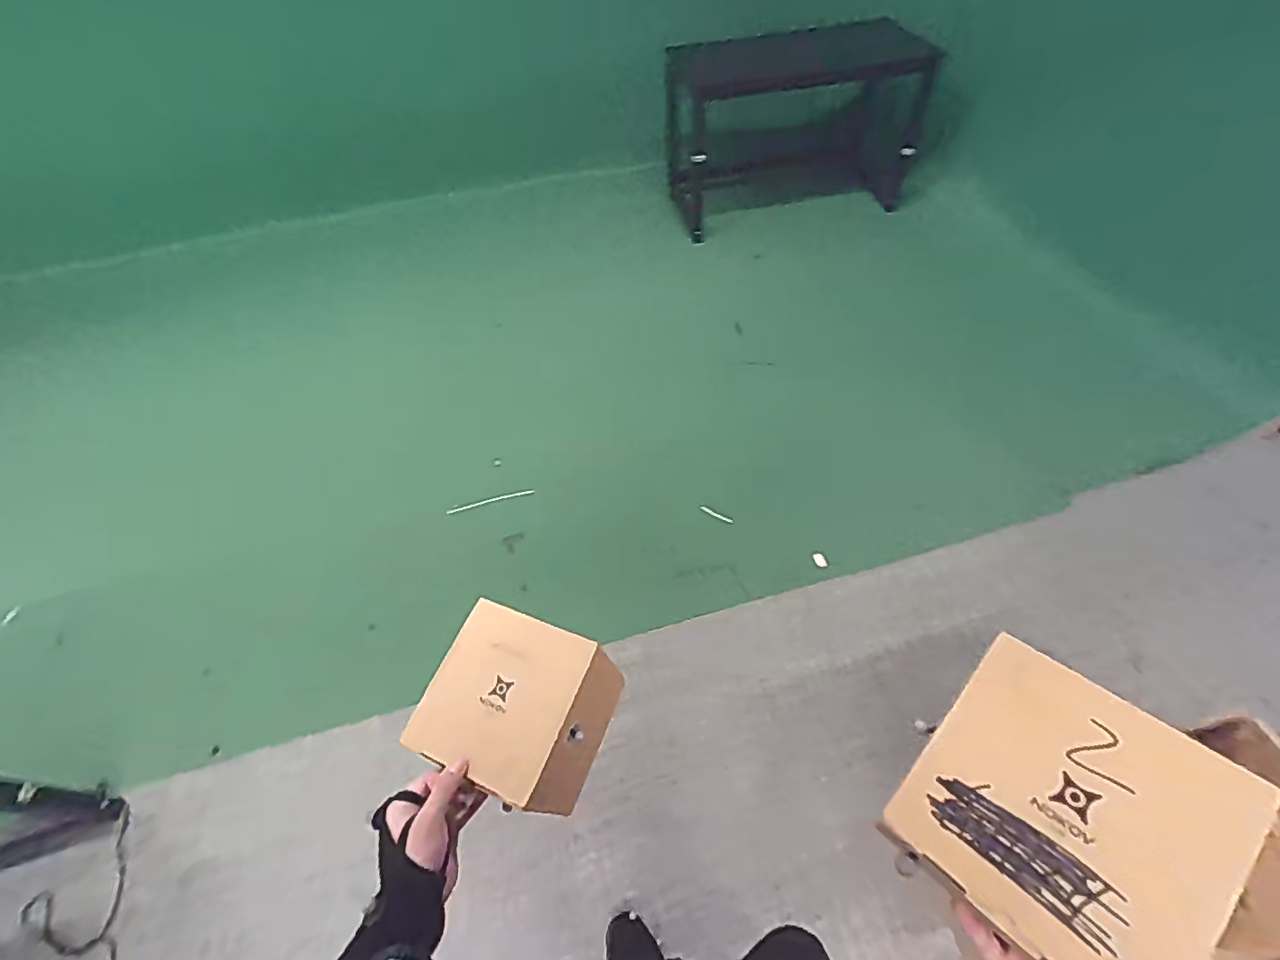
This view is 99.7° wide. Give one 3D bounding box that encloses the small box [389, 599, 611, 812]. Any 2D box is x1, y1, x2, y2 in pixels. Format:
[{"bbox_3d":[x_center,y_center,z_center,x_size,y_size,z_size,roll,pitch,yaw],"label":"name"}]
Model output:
[{"bbox_3d":[-0.150,0.275,0.651,0.168,0.176,0.179,15,61,20],"label":"small box"}]
